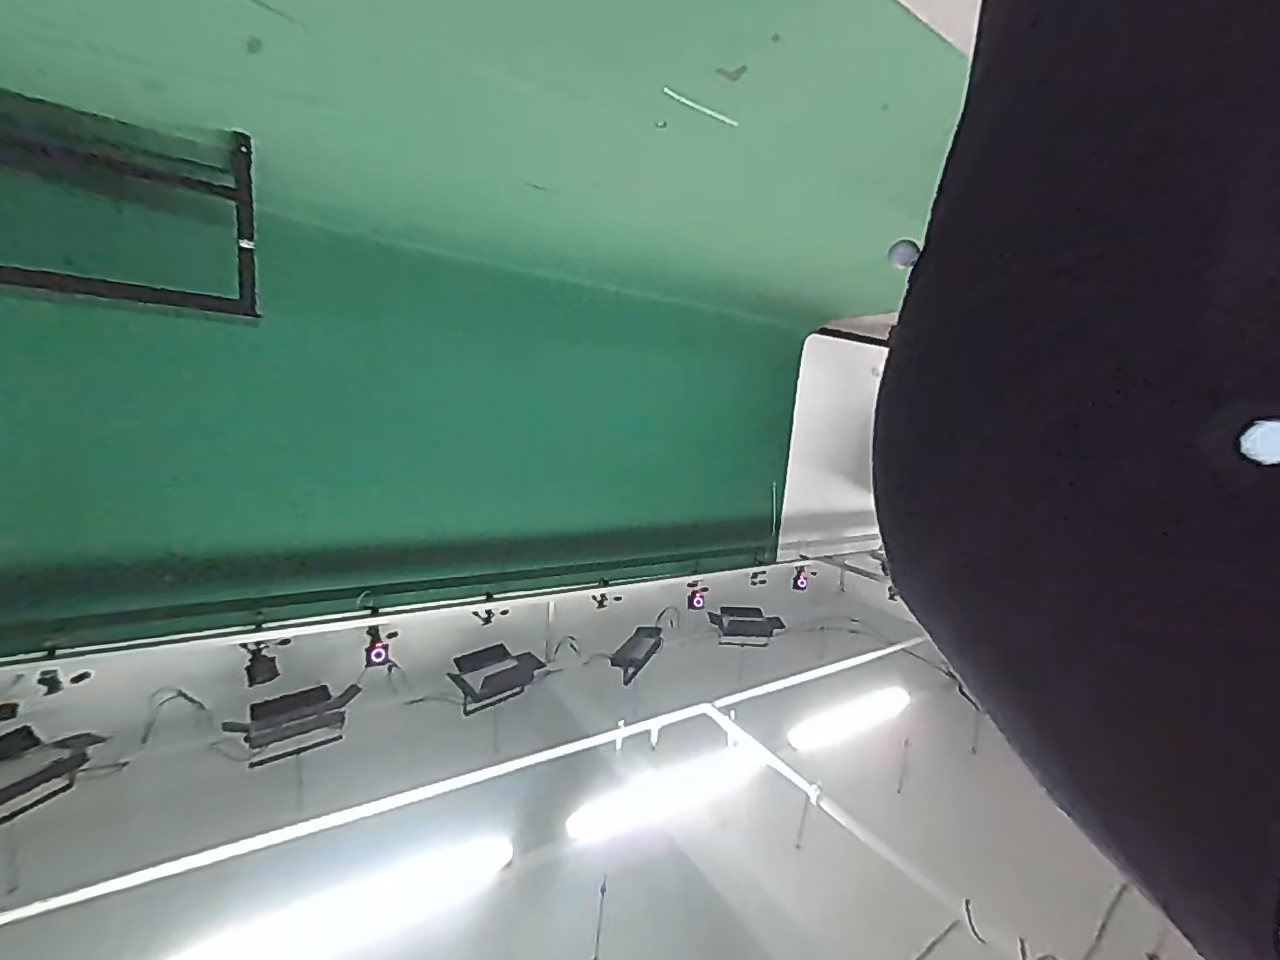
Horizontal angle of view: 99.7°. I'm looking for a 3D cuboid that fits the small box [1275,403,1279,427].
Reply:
[{"bbox_3d":[2.060,-0.237,1.619,0.179,0.176,0.168,0,-171,-34],"label":"small box"}]
